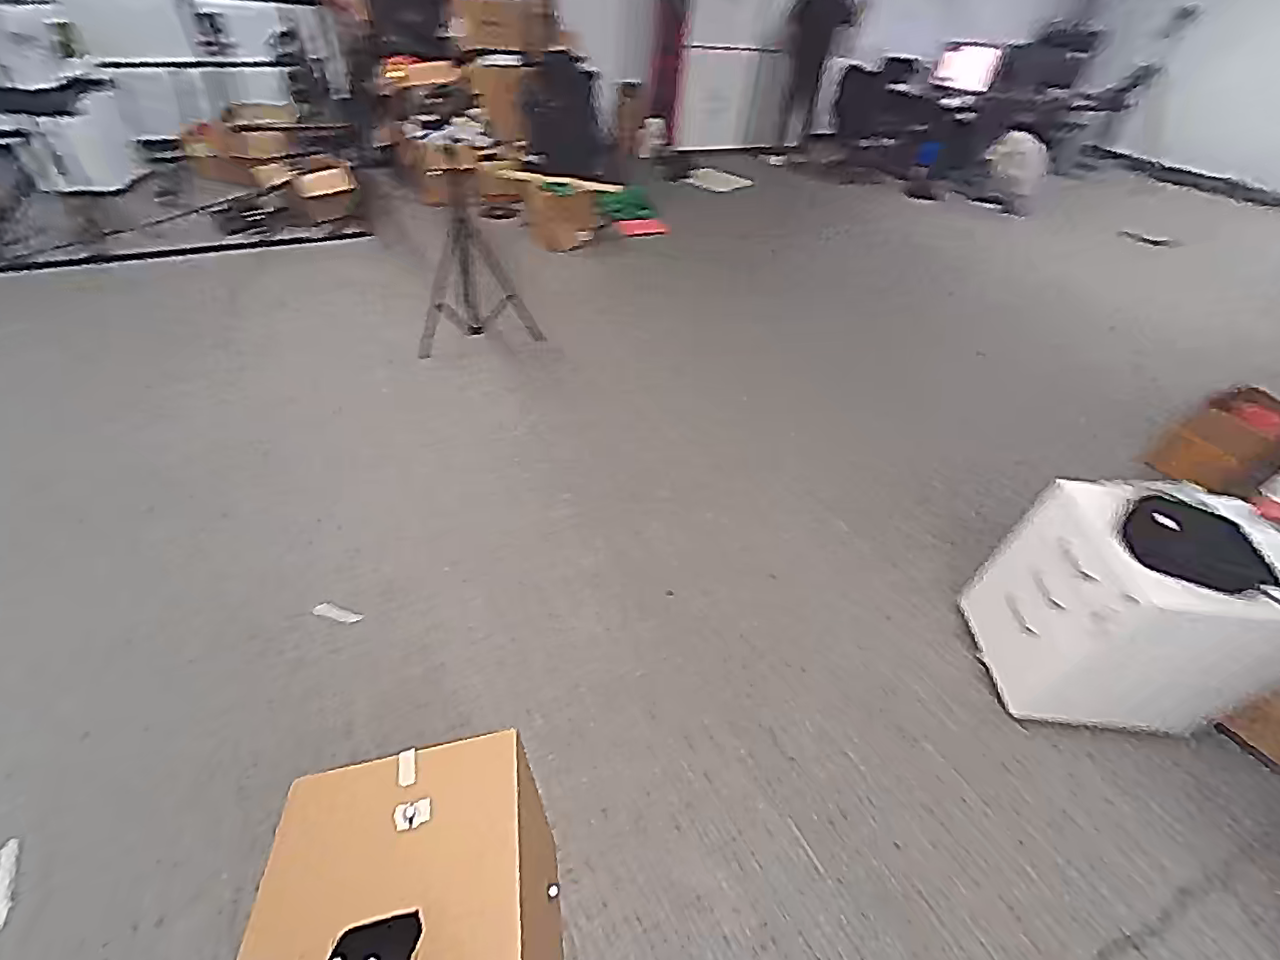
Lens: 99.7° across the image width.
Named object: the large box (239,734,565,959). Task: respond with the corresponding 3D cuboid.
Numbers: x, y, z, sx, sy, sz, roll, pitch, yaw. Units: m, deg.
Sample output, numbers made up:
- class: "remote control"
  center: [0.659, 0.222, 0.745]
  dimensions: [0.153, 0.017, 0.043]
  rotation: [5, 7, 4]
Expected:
- class: "large box"
  center: [-0.293, 0.636, 0.767]
  dimensions: [0.320, 0.408, 0.320]
  rotation: [-11, 36, -7]
